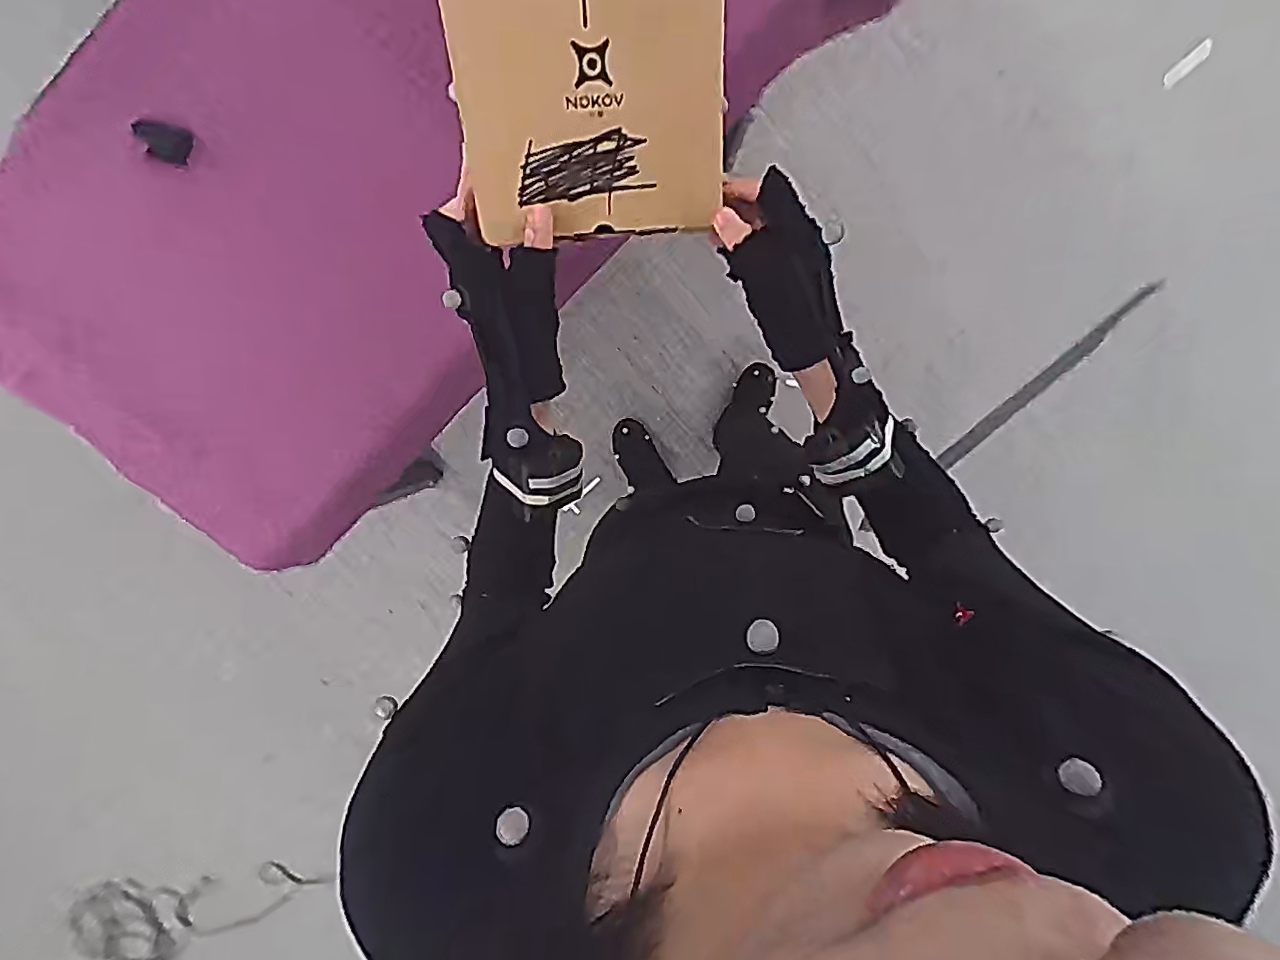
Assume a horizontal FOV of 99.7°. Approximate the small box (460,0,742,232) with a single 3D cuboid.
[{"bbox_3d":[-0.028,-0.283,0.395,0.168,0.176,0.179,-4,117,-5],"label":"small box"}]
